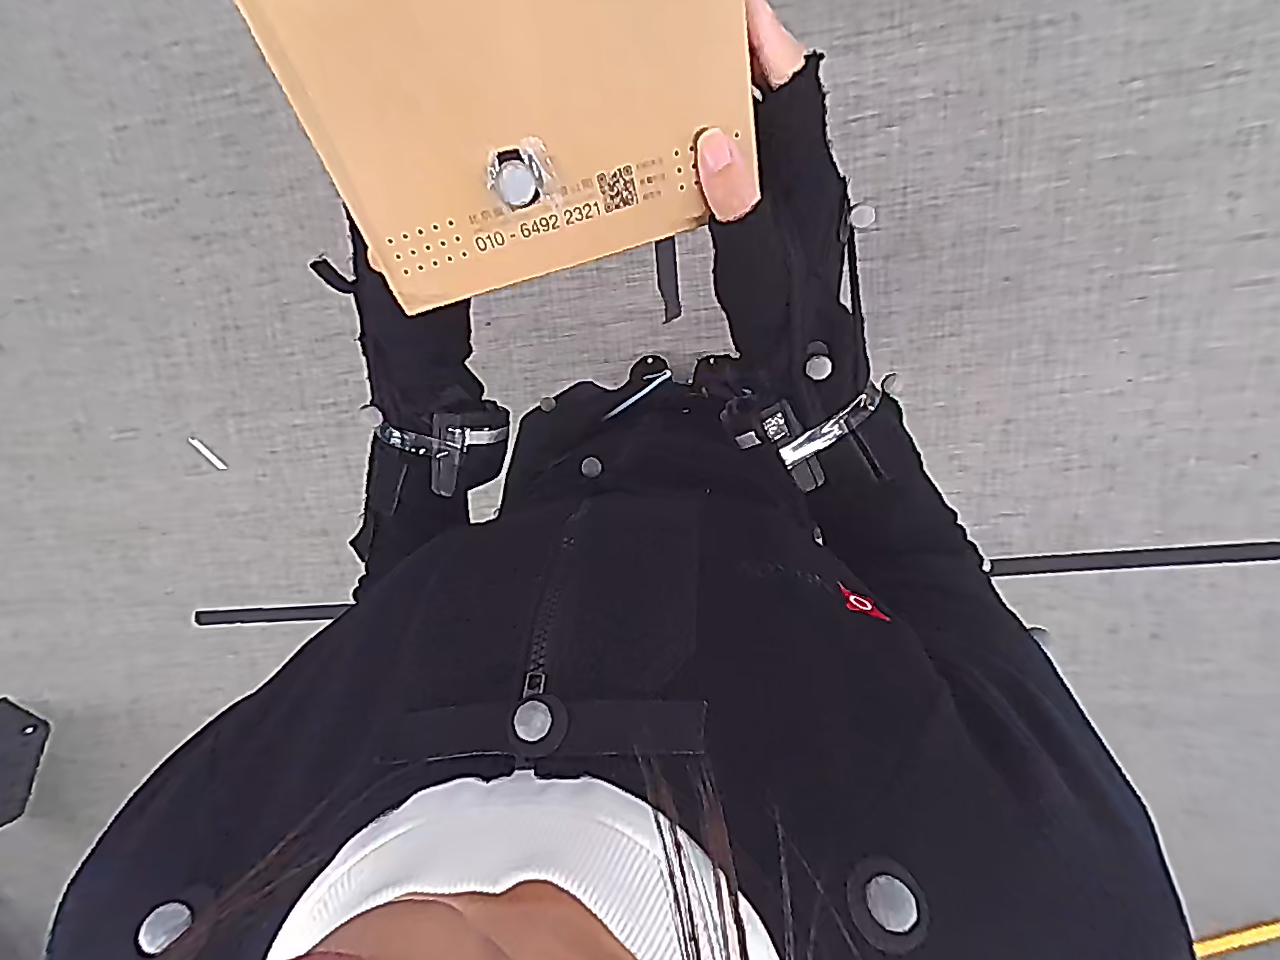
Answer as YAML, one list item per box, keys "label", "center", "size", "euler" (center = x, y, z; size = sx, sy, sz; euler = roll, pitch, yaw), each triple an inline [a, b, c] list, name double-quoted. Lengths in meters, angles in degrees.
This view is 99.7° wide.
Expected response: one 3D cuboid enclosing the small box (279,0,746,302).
- label: "small box"
  center: [-0.057, -0.212, 0.267]
  size: [0.168, 0.179, 0.176]
  euler: [-18, 131, 0]
